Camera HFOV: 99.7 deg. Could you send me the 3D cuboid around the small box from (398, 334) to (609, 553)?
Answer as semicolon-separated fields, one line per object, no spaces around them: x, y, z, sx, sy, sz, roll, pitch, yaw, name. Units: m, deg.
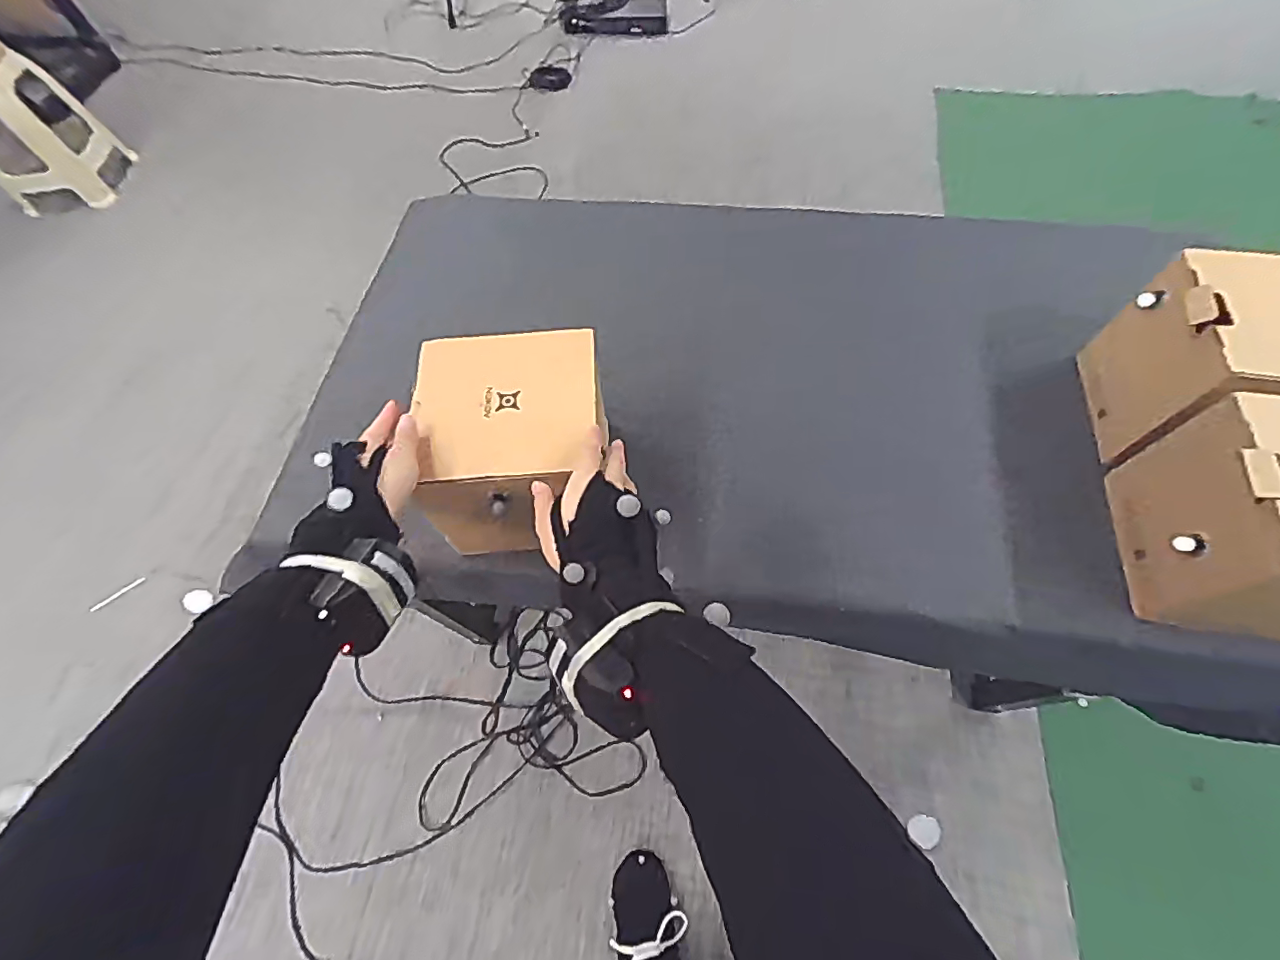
-0.125;-0.031;0.573;0.179;0.176;0.168;-5;61;1;small box
